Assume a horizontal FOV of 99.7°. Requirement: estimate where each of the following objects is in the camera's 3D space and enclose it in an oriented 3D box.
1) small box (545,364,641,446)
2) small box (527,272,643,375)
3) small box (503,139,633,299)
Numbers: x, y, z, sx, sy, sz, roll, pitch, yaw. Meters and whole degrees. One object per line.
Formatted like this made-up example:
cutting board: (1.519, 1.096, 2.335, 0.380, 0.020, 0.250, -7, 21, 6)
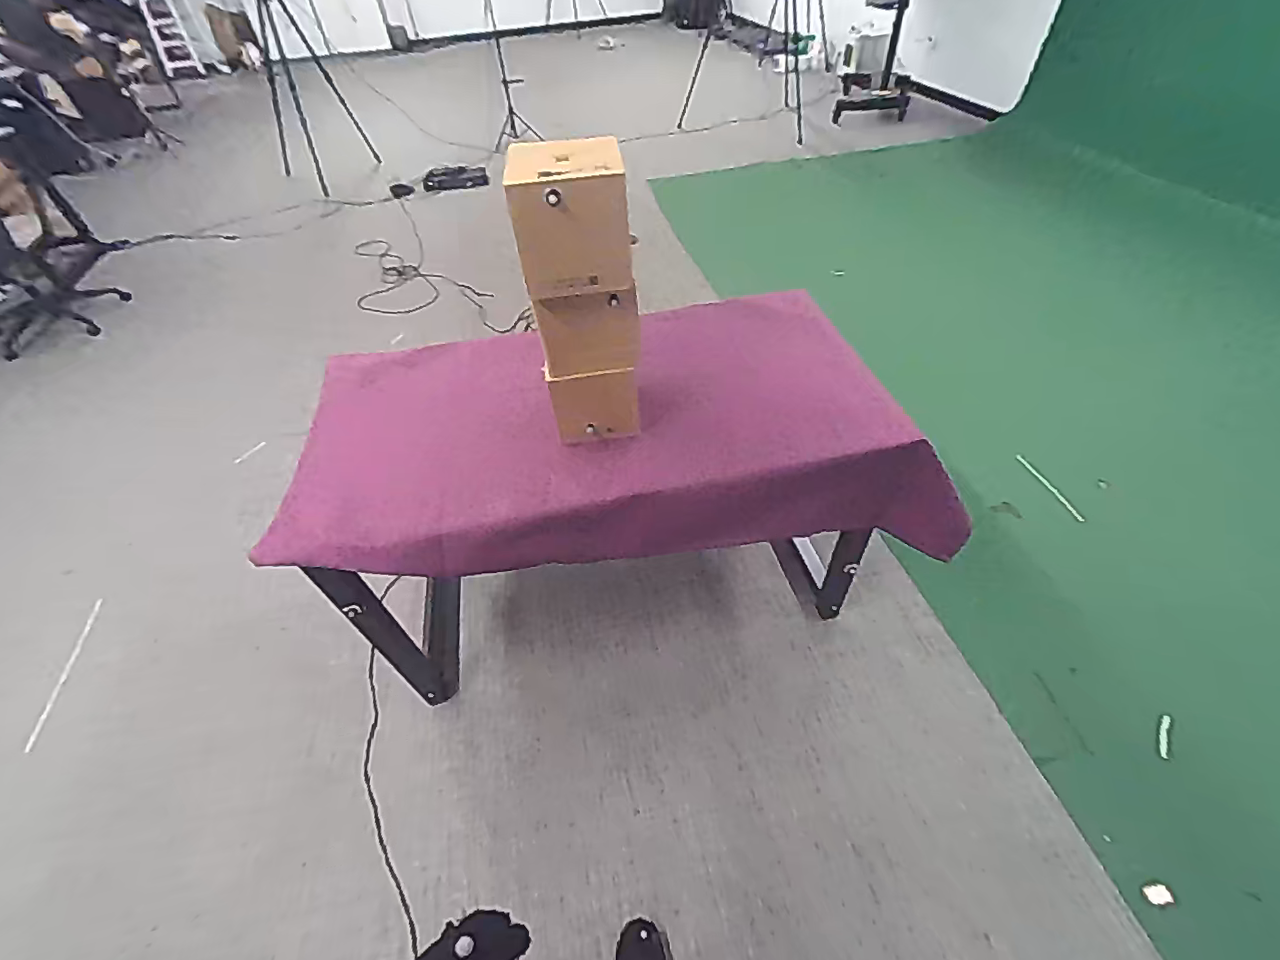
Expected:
small box: (-0.092, -0.192, 1.081, 0.168, 0.176, 0.179, -8, 48, -2)
small box: (-0.096, -0.304, 0.964, 0.179, 0.176, 0.168, -9, 47, -3)
small box: (-0.103, -0.398, 0.828, 0.168, 0.176, 0.179, -7, 46, -1)
